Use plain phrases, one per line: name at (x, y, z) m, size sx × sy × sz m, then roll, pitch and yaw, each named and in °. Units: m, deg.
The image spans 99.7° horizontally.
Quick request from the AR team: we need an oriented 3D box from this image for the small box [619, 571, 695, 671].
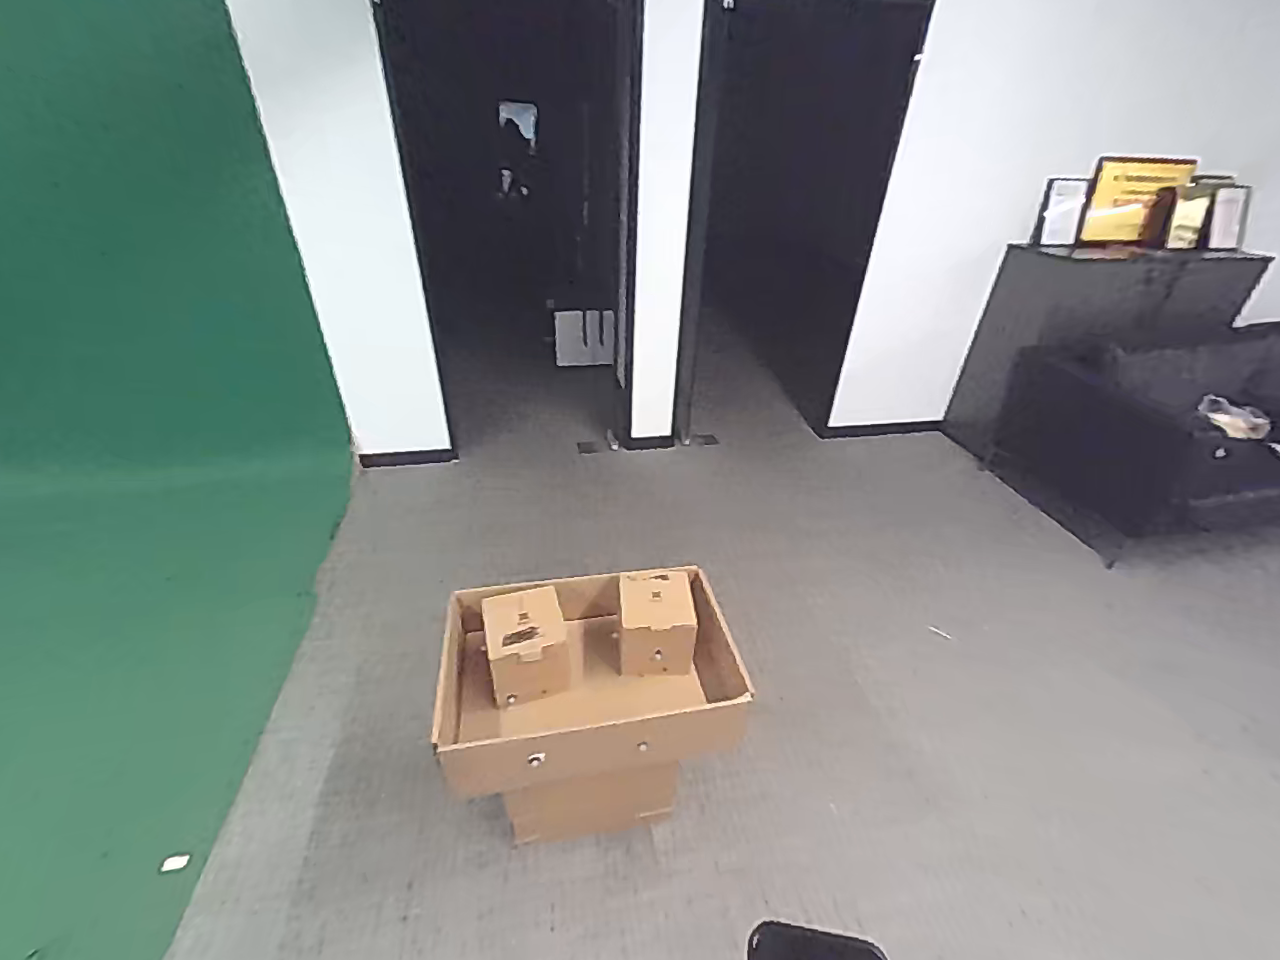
small box at (0.035, 0.337, 1.281) m, size 0.168 × 0.176 × 0.179 m, roll 0°, pitch 35°, yaw -4°
